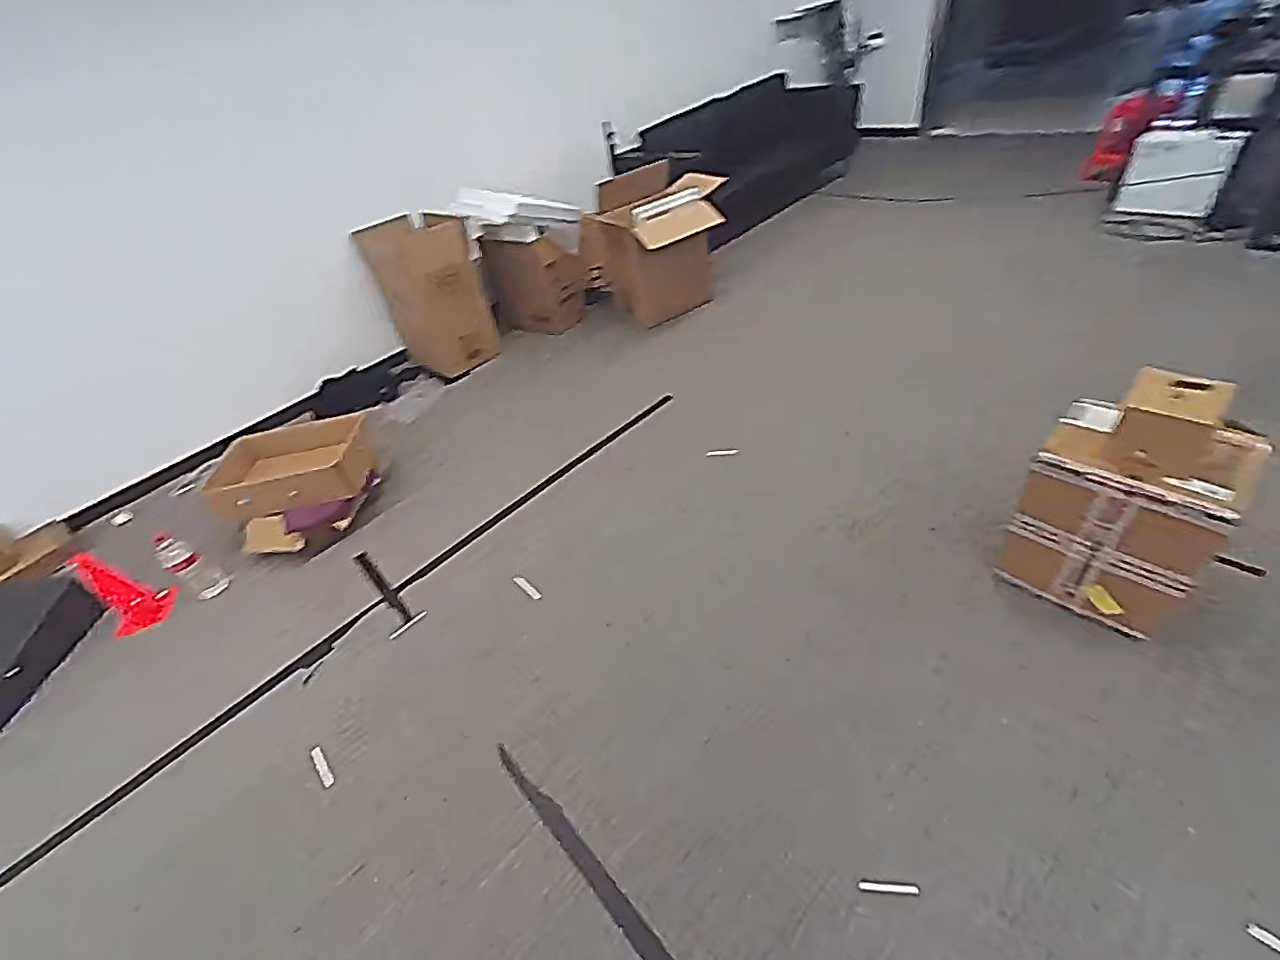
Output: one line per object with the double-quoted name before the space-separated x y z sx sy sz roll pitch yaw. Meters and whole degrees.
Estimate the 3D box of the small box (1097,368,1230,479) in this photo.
"small box" 1.238 -0.136 1.290 0.168 0.176 0.179 28 59 38
